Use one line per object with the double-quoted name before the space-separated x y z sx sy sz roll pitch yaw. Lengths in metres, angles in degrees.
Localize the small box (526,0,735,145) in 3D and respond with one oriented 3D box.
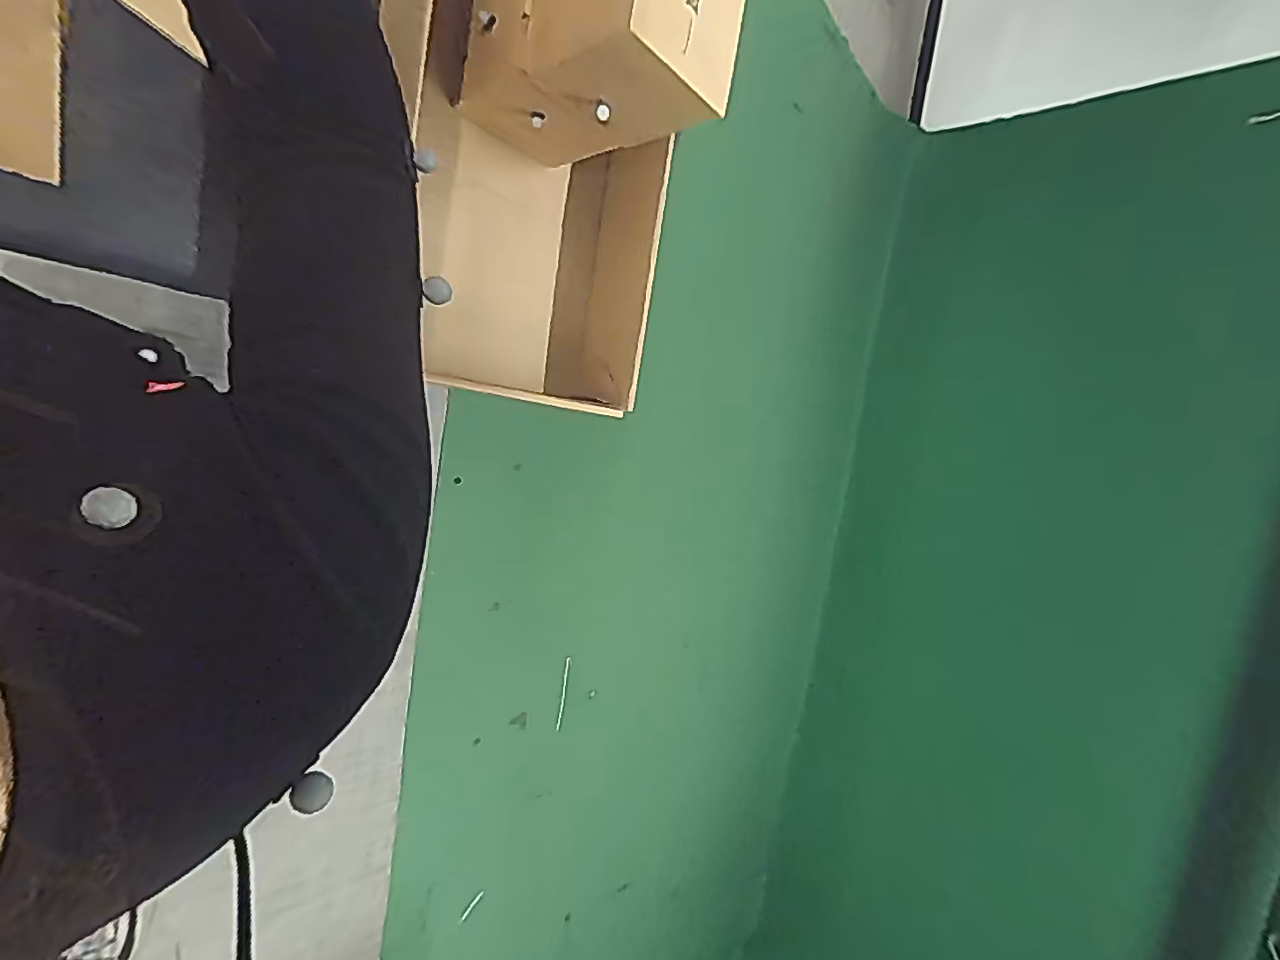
"small box" -0.012 -0.529 0.626 0.168 0.176 0.179 3 100 -49
